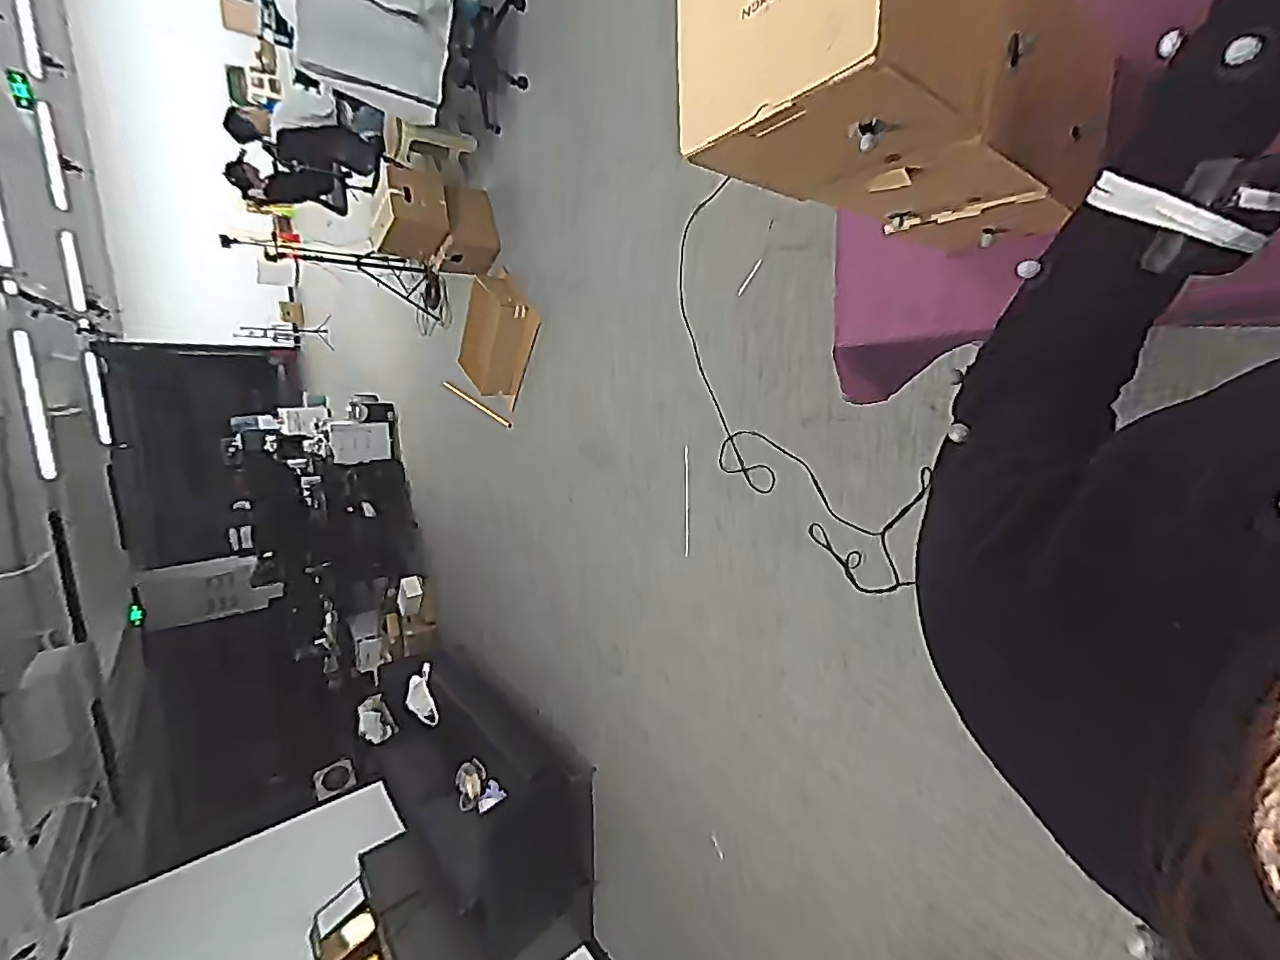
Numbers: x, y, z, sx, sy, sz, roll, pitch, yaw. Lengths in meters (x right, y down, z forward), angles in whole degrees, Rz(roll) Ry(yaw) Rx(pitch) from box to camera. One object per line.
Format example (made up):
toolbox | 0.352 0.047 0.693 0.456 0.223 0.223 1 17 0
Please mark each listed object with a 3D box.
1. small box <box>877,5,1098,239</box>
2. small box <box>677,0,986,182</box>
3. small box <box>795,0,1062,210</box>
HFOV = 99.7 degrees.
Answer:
small box | 0.395 -0.385 0.619 0.168 0.176 0.179 12 107 48
small box | 0.145 -0.348 0.411 0.168 0.176 0.179 10 104 49
small box | 0.270 -0.371 0.513 0.168 0.176 0.179 14 107 49
